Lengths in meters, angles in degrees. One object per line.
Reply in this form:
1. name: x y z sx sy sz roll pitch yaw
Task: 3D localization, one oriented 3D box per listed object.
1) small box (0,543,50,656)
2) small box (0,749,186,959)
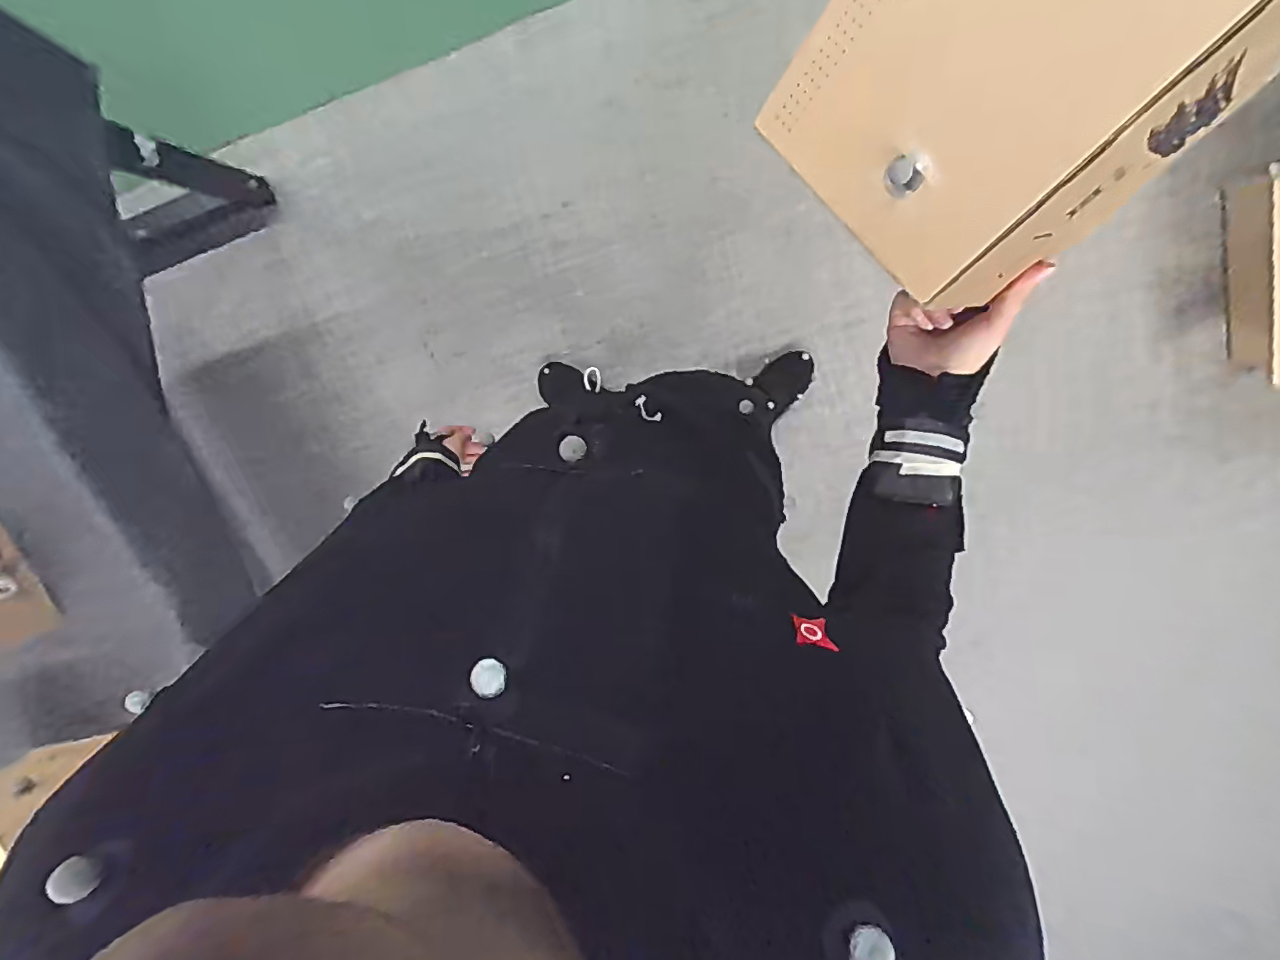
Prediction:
1. small box: -0.815 0.154 0.568 0.179 0.176 0.168 -18 106 4
2. small box: -0.718 0.455 0.653 0.168 0.176 0.179 -13 106 4
